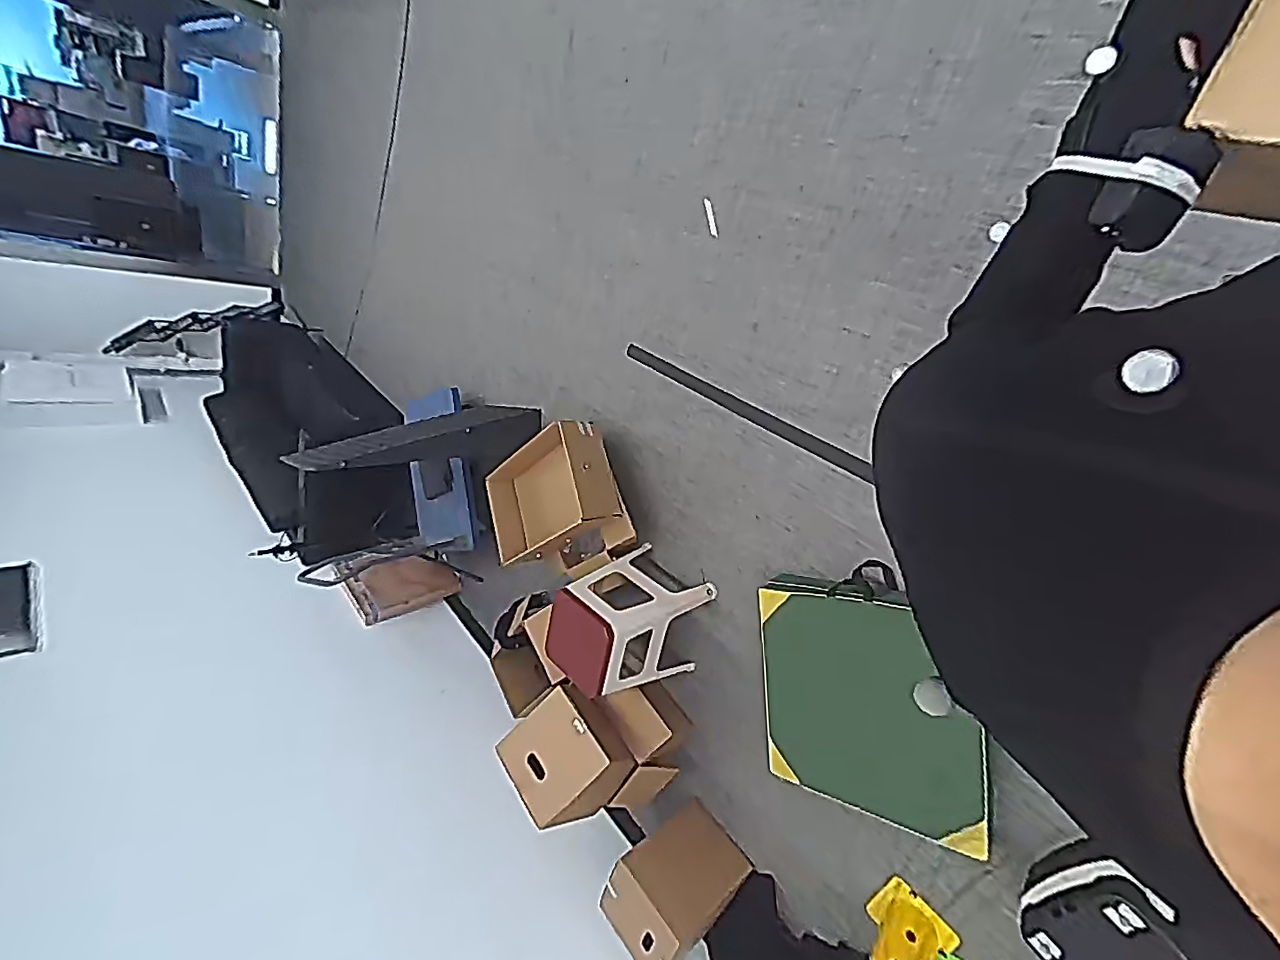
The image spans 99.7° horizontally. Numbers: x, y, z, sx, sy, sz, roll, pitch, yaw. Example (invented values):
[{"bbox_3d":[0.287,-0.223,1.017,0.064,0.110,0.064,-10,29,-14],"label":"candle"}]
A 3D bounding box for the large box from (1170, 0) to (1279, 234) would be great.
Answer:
[{"bbox_3d":[0.638,-0.302,0.301,0.408,0.320,0.320,32,122,33],"label":"large box"}]
